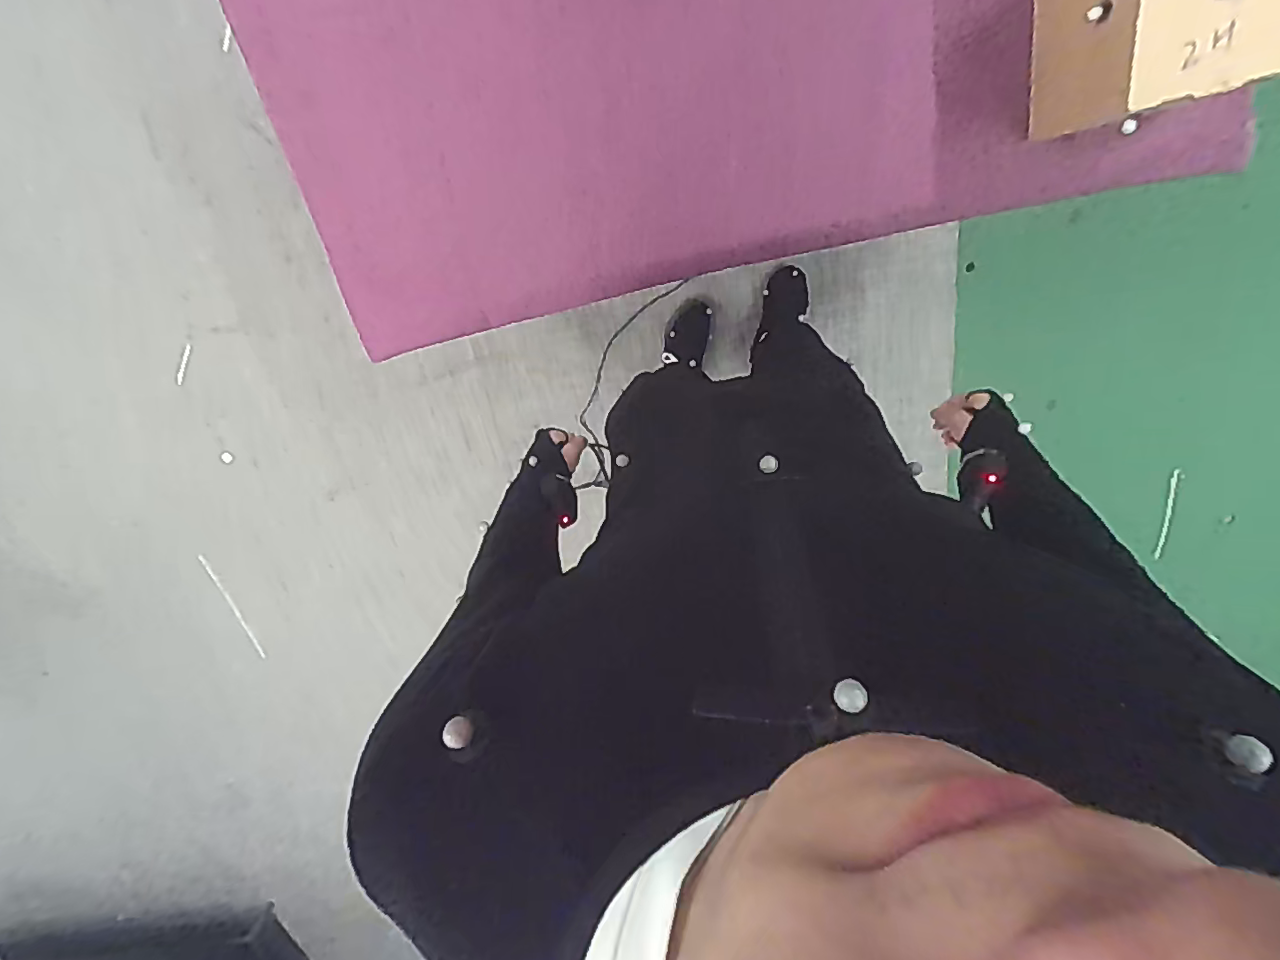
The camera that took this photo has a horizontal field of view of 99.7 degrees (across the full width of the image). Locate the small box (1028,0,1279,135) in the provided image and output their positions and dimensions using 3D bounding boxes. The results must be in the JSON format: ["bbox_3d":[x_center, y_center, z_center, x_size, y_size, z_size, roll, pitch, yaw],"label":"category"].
[{"bbox_3d":[0.543,-0.493,0.567,0.168,0.176,0.179,-9,113,9],"label":"small box"}]
